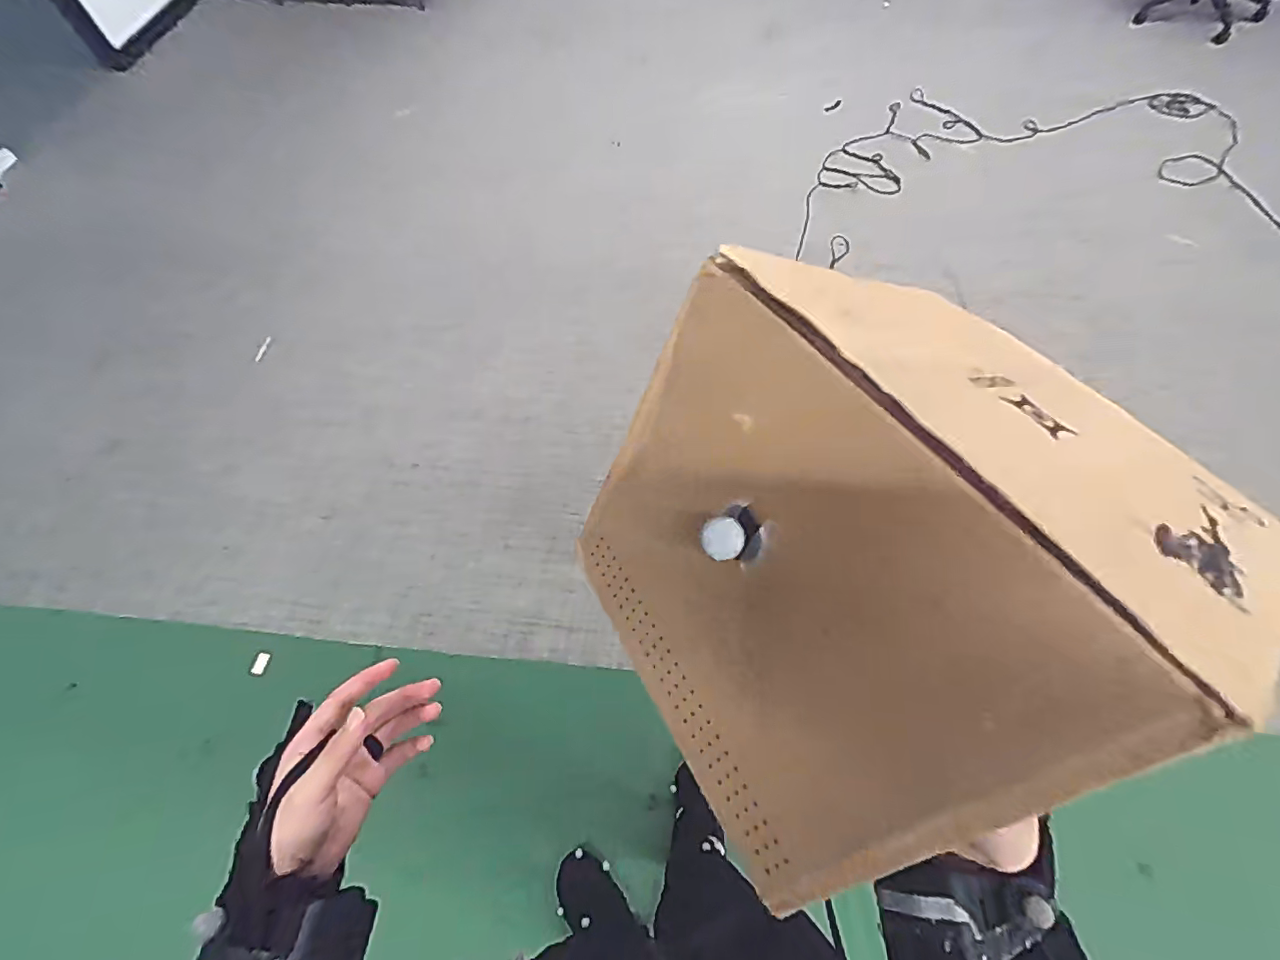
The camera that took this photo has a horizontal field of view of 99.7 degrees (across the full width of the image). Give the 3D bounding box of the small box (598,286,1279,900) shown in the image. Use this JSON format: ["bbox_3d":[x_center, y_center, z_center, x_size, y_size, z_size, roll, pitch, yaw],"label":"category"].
[{"bbox_3d":[0.103,0.037,0.246,0.168,0.176,0.179,-10,50,-36],"label":"small box"}]
